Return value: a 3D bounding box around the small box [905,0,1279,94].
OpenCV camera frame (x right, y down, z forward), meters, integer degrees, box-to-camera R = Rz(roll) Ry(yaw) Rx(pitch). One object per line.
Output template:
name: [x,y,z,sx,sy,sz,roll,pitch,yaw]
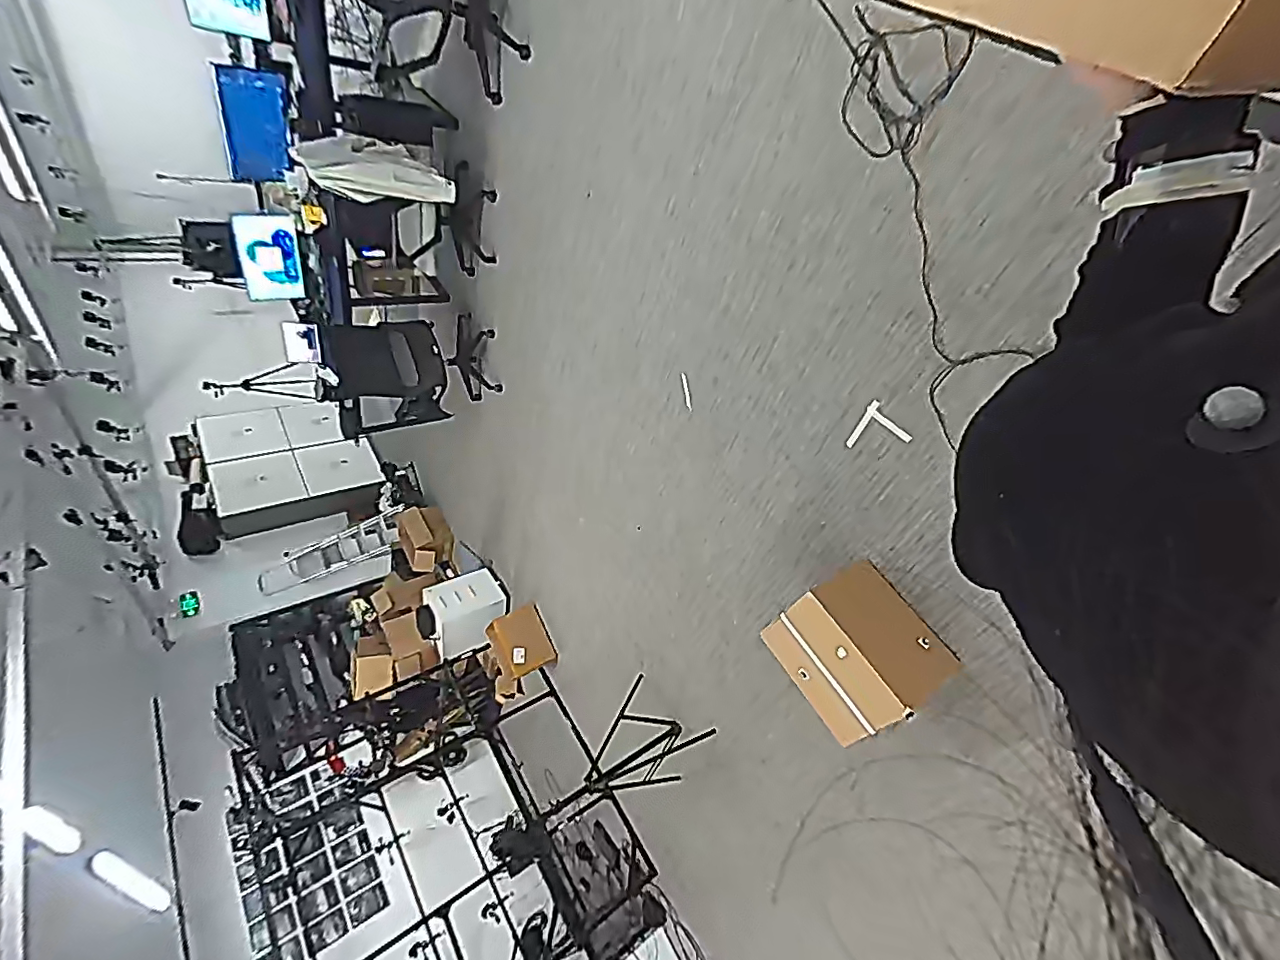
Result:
small box: [0.280,-0.309,0.255,0.179,0.176,0.168,56,152,32]
